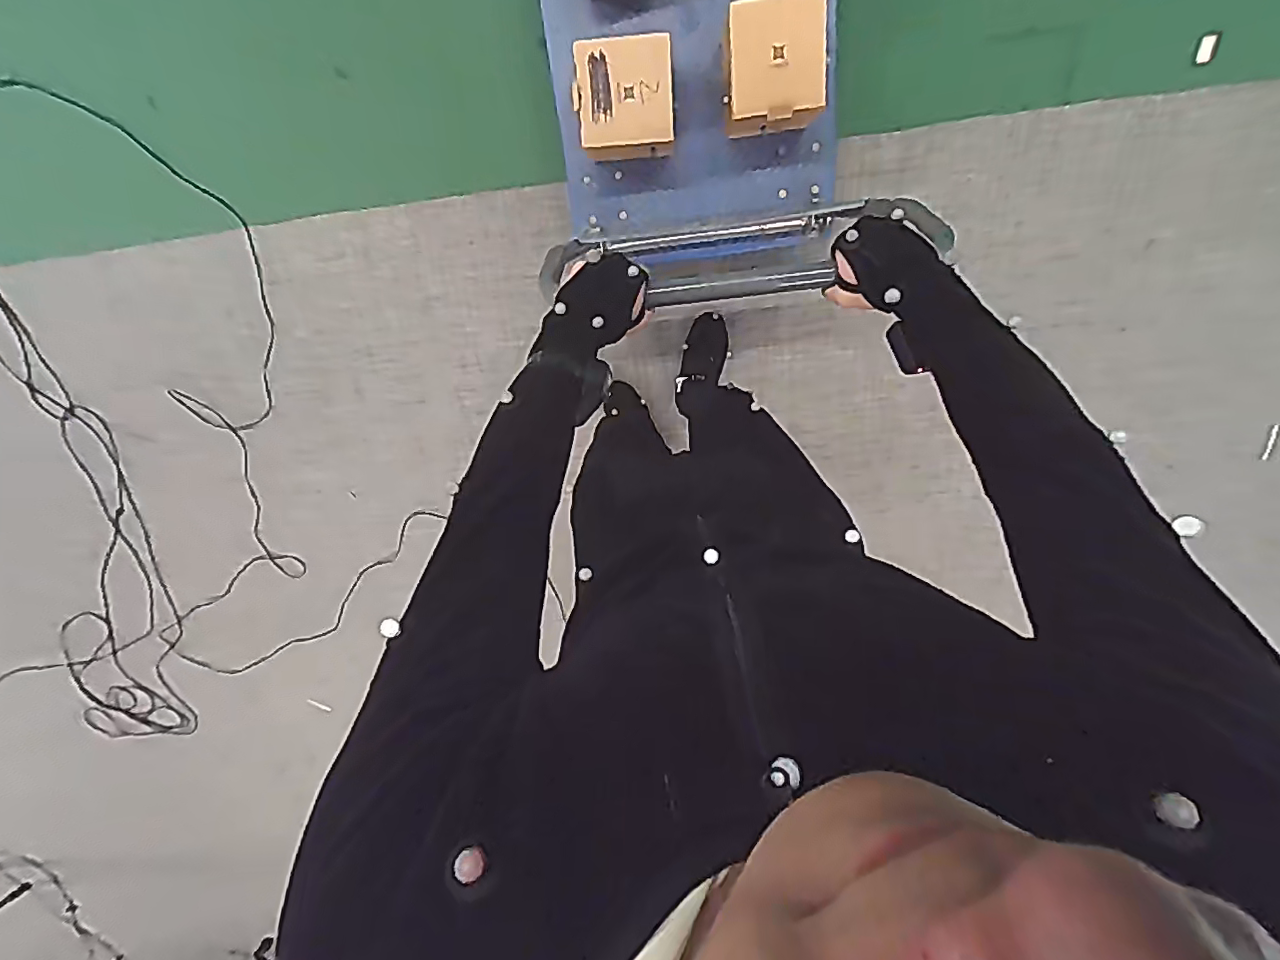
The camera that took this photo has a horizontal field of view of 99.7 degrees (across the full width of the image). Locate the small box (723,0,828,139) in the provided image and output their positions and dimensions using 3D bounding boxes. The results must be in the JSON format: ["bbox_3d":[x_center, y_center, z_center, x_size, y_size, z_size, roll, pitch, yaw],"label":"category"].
[{"bbox_3d":[0.249,-0.771,1.022,0.168,0.176,0.179,-5,113,6],"label":"small box"}]
